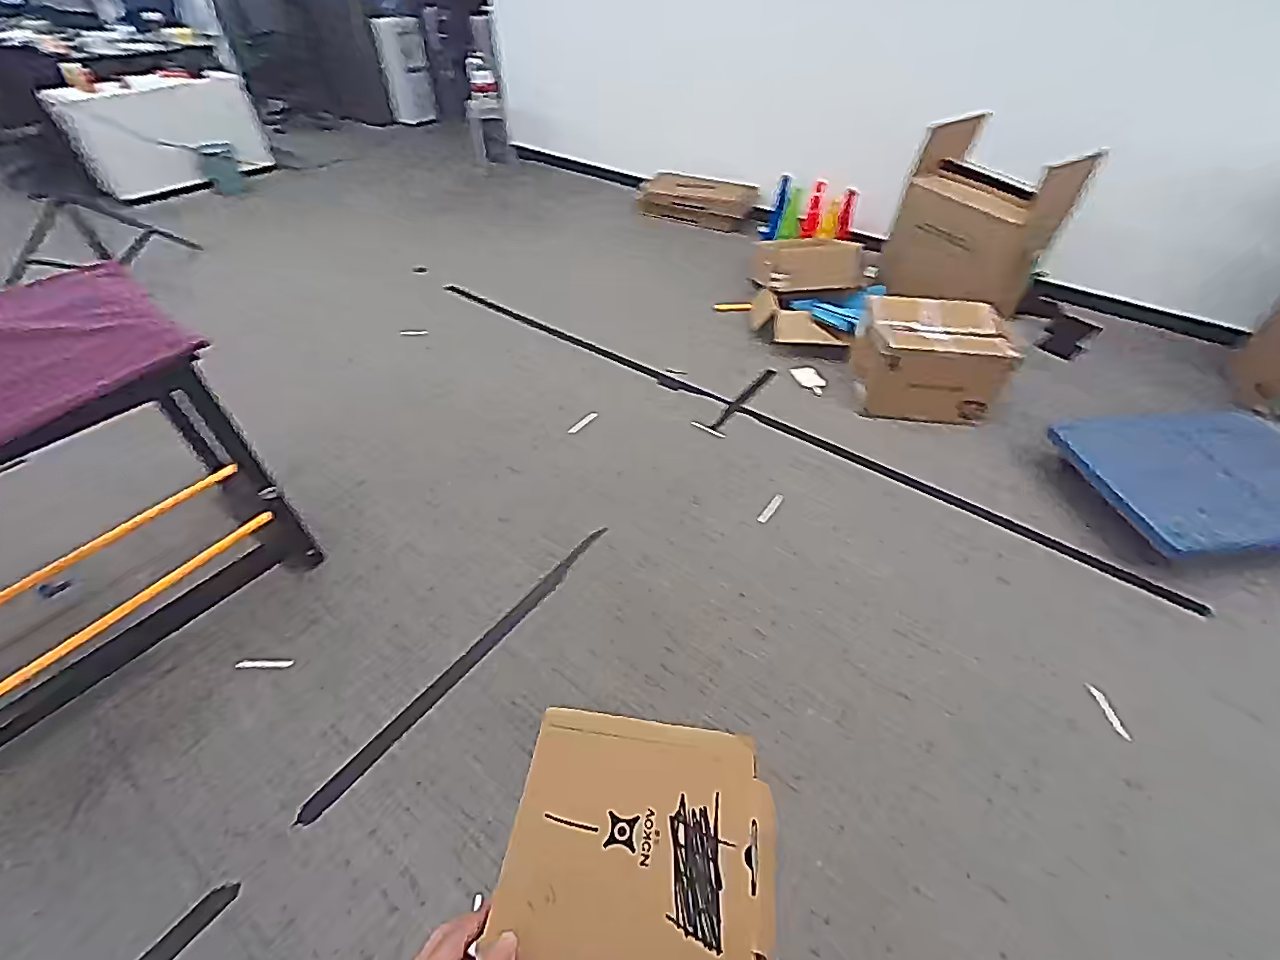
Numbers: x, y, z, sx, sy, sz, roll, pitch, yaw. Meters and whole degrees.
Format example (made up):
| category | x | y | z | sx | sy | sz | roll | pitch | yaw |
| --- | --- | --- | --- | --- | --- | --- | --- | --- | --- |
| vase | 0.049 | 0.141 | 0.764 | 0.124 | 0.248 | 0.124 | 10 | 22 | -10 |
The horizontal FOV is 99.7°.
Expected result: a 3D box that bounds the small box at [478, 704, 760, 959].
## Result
| category | x | y | z | sx | sy | sz | roll | pitch | yaw |
| --- | --- | --- | --- | --- | --- | --- | --- | --- | --- |
| small box | -0.005 | 0.308 | 0.438 | 0.179 | 0.176 | 0.168 | 6 | 44 | 6 |
